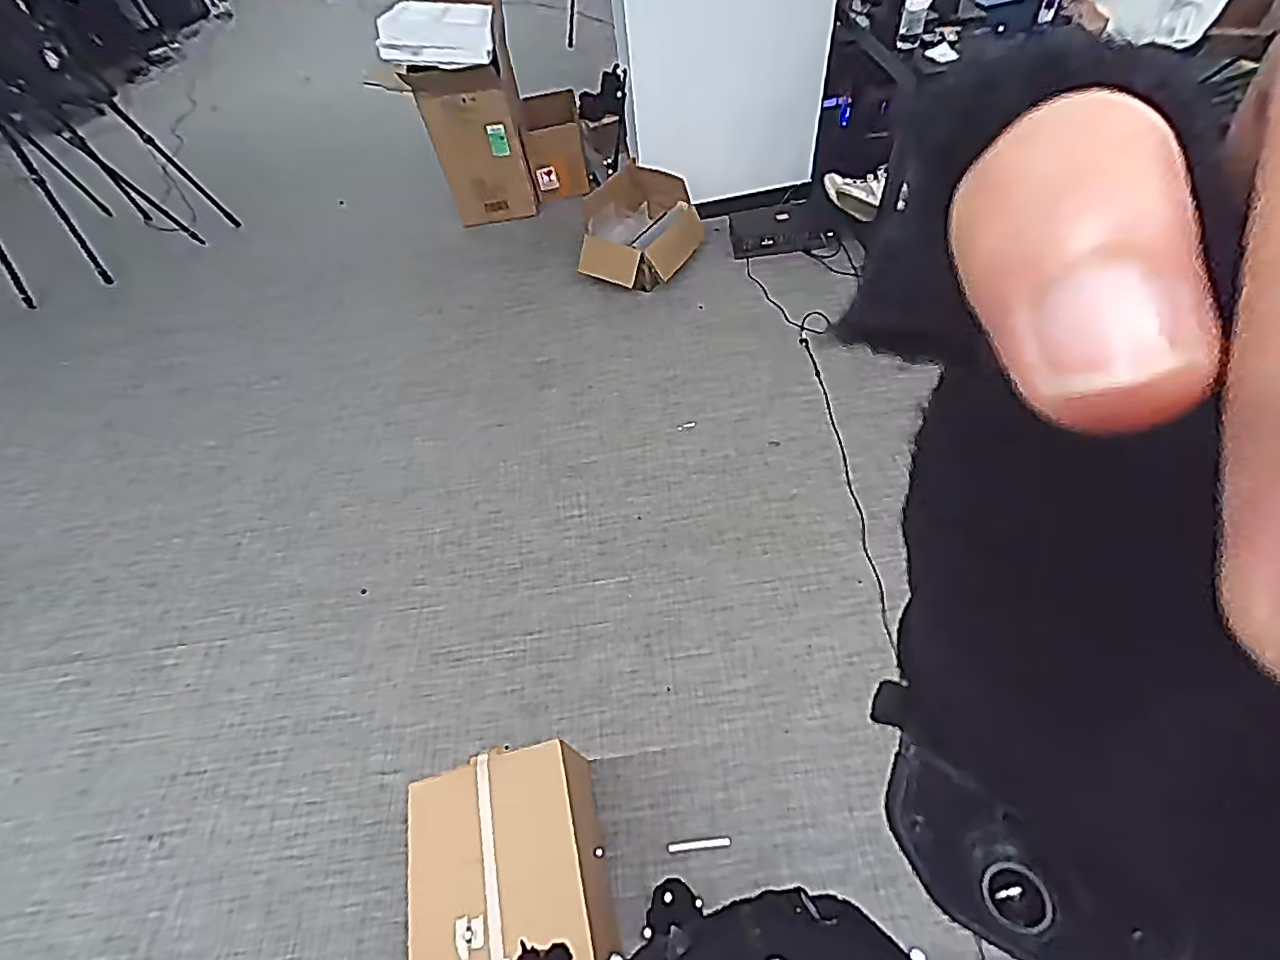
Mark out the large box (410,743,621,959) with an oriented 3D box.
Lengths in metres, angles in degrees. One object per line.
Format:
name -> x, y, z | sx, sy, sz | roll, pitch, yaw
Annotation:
large box -> -0.248, 0.815, 1.108 | 0.320, 0.320, 0.408 | -16, 55, -3
